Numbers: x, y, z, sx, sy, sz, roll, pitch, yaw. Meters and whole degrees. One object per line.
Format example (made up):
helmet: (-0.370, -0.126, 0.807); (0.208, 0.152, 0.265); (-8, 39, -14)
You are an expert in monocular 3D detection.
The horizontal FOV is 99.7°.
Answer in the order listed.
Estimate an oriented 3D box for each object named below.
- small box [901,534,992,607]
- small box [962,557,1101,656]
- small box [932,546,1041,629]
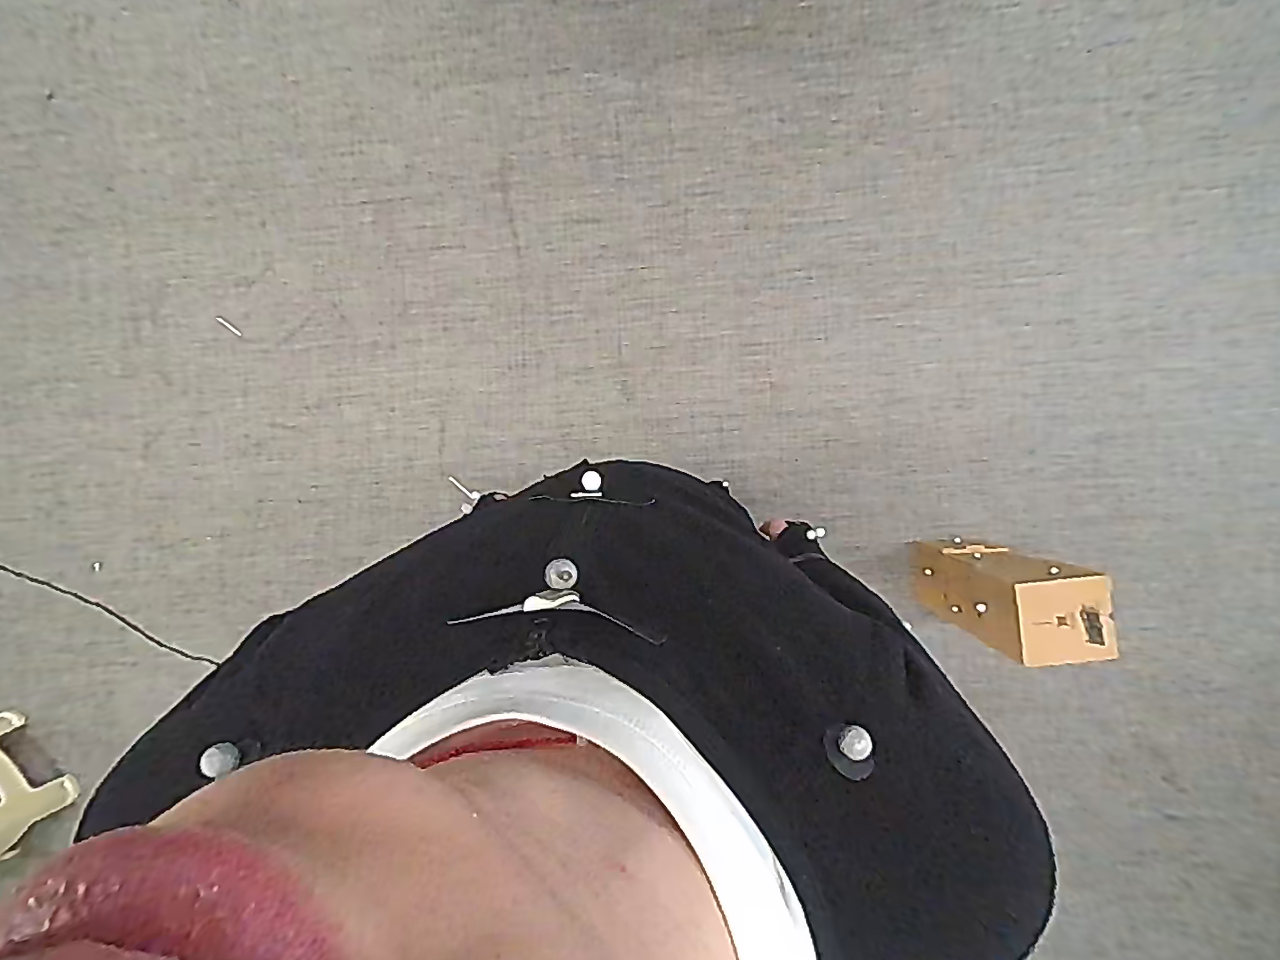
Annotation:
small box: (0.841, 0.246, 1.490); (0.168, 0.176, 0.179); (-5, 92, 0)
small box: (0.817, 0.260, 1.143); (0.179, 0.176, 0.168); (-4, 91, 1)
small box: (0.831, 0.257, 1.309); (0.179, 0.176, 0.168); (-3, 93, 0)
